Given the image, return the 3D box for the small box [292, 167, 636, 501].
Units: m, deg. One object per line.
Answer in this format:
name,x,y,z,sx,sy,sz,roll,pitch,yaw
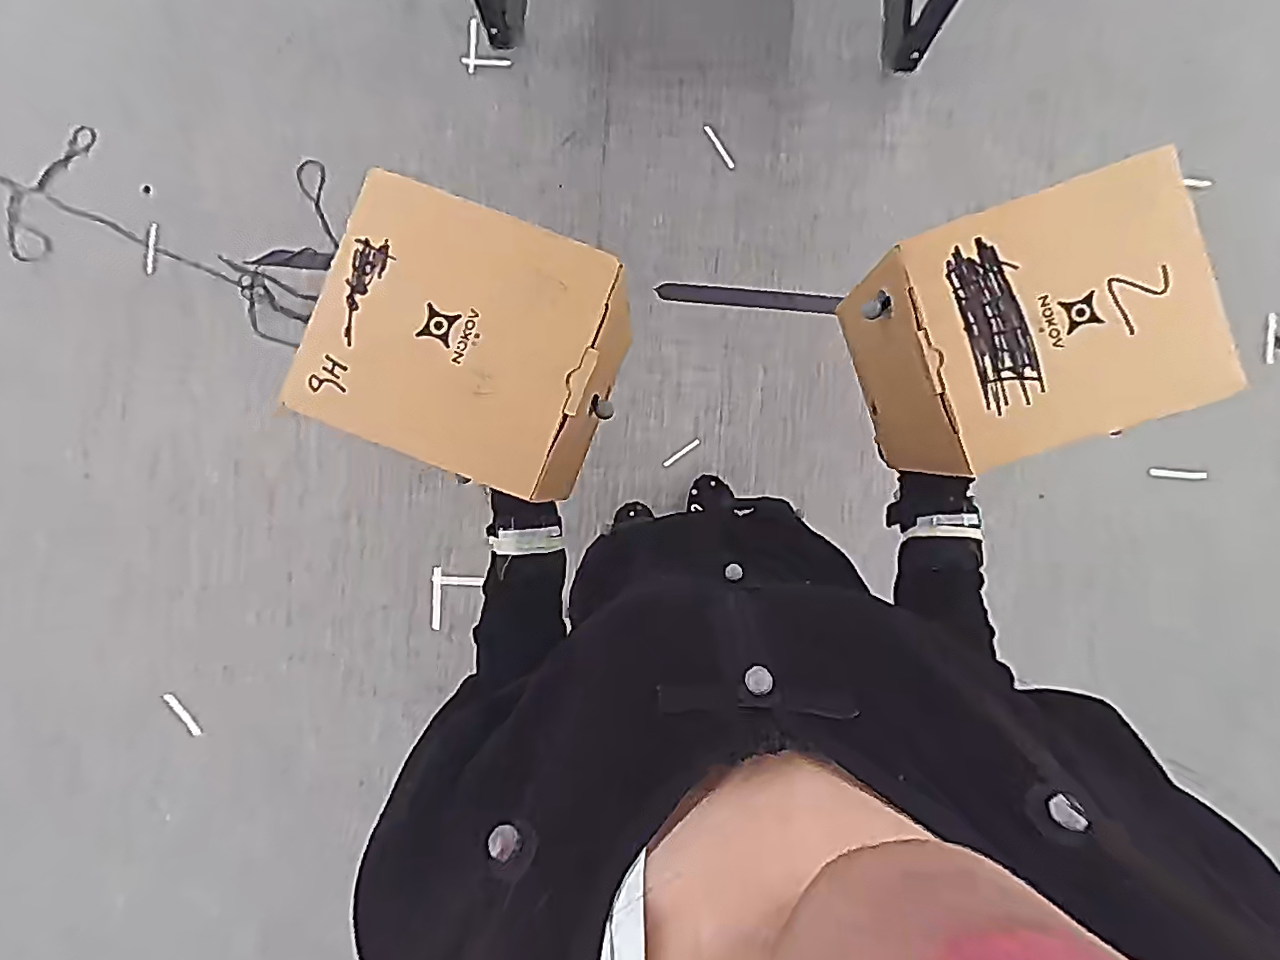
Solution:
small box,-0.112,-0.093,0.422,0.179,0.176,0.168,21,89,0
